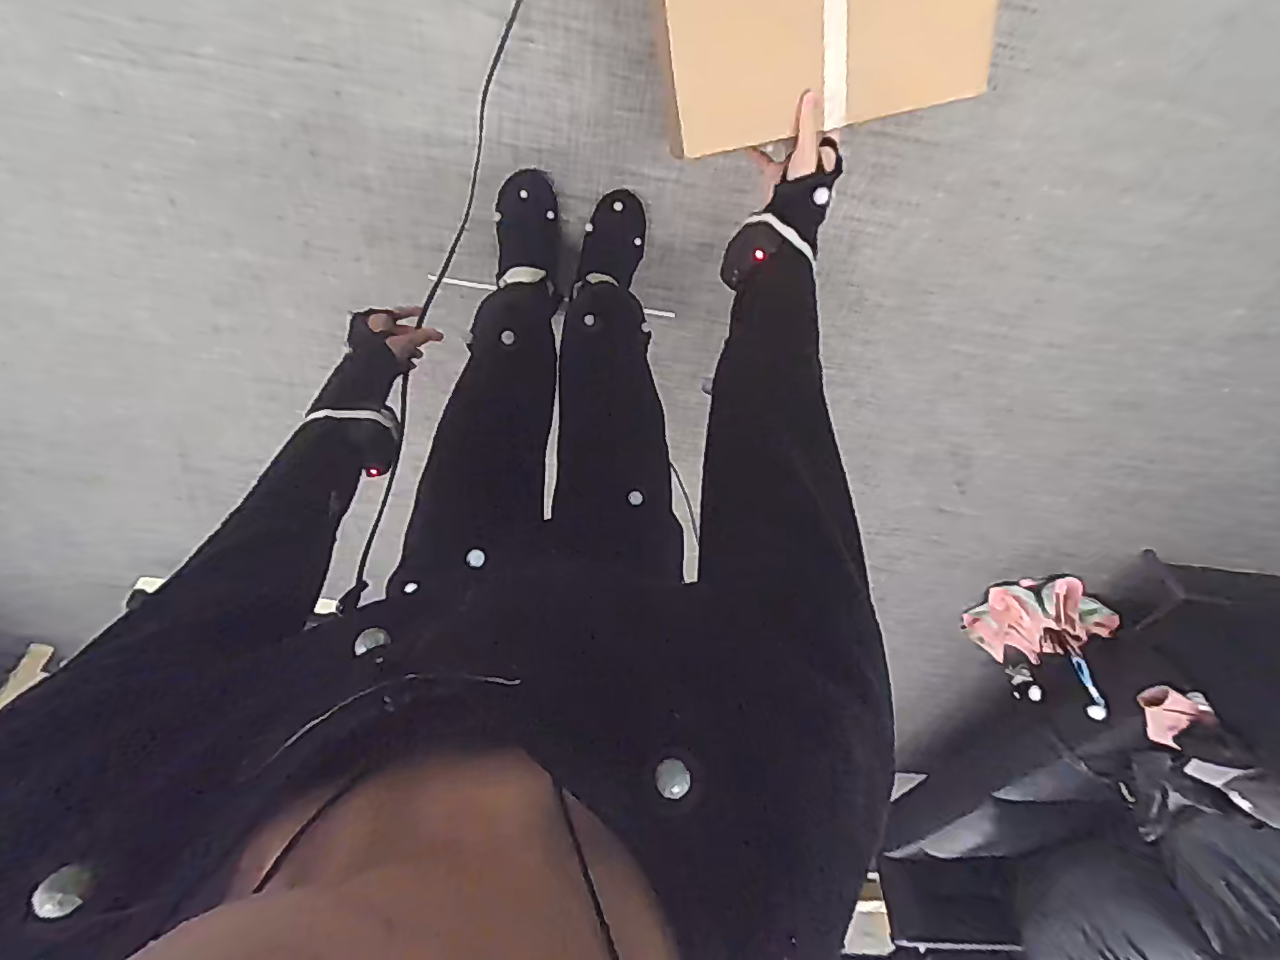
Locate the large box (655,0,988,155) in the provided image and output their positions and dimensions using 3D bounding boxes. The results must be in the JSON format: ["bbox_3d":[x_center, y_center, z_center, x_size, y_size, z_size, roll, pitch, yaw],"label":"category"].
[{"bbox_3d":[0.165,-0.624,0.603,0.320,0.320,0.408,-9,120,5],"label":"large box"}]
